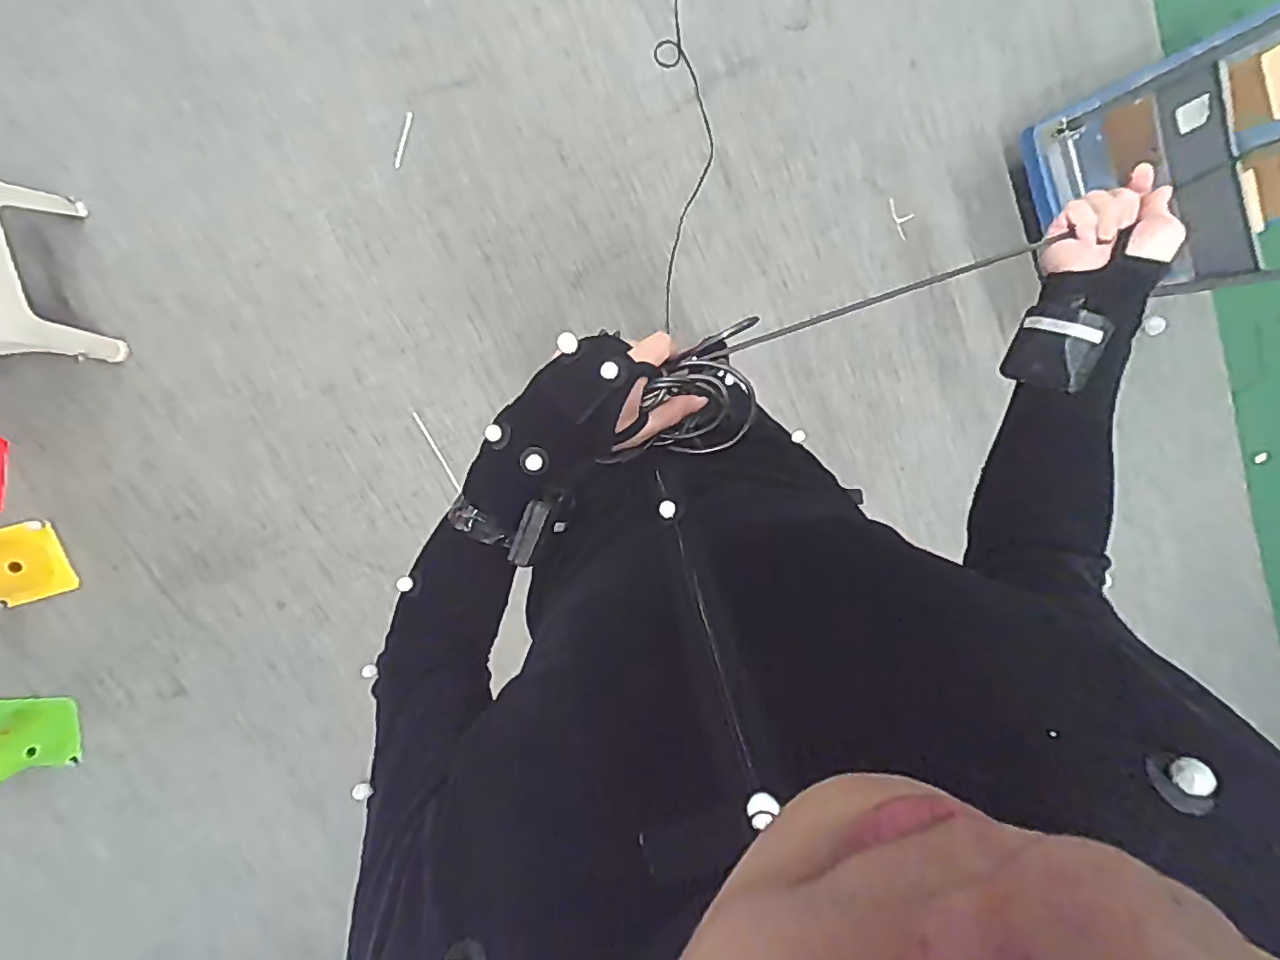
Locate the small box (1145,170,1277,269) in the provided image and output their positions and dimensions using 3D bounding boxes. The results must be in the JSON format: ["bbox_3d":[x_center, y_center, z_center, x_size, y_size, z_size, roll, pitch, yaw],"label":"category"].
[{"bbox_3d":[1.535,-0.694,1.461,0.179,0.176,0.168,-26,102,-2],"label":"small box"}]

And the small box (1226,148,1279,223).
[{"bbox_3d":[1.775,-0.817,1.473,0.179,0.176,0.168,-30,101,-1],"label":"small box"}]

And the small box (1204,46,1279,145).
[{"bbox_3d":[1.650,-1.029,1.422,0.179,0.176,0.168,-31,102,-2],"label":"small box"}]
